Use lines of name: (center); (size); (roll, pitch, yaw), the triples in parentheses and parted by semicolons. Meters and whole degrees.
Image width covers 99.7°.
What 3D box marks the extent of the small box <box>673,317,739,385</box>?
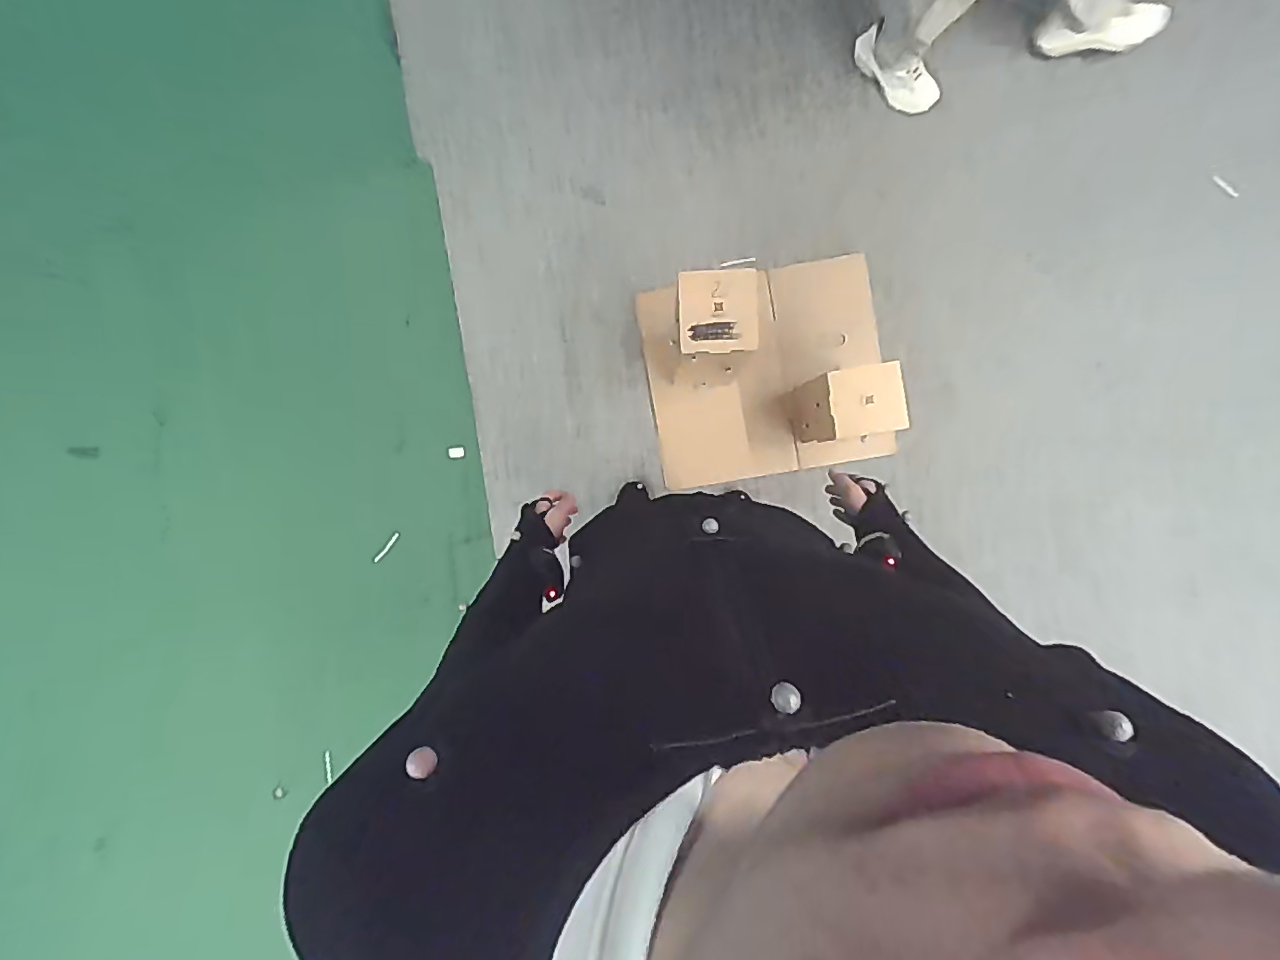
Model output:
small box: (0.184, -0.366, 1.542); (0.179, 0.176, 0.168); (-1, 90, 3)

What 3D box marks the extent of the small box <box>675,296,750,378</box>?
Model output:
small box: (0.179, -0.359, 1.377); (0.179, 0.176, 0.168); (-2, 90, 3)

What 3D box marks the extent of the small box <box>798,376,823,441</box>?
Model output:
small box: (0.555, -0.205, 1.527); (0.179, 0.176, 0.168); (-9, 90, 3)

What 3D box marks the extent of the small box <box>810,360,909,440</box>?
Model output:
small box: (0.547, -0.196, 1.366); (0.179, 0.176, 0.168); (-9, 91, 4)
